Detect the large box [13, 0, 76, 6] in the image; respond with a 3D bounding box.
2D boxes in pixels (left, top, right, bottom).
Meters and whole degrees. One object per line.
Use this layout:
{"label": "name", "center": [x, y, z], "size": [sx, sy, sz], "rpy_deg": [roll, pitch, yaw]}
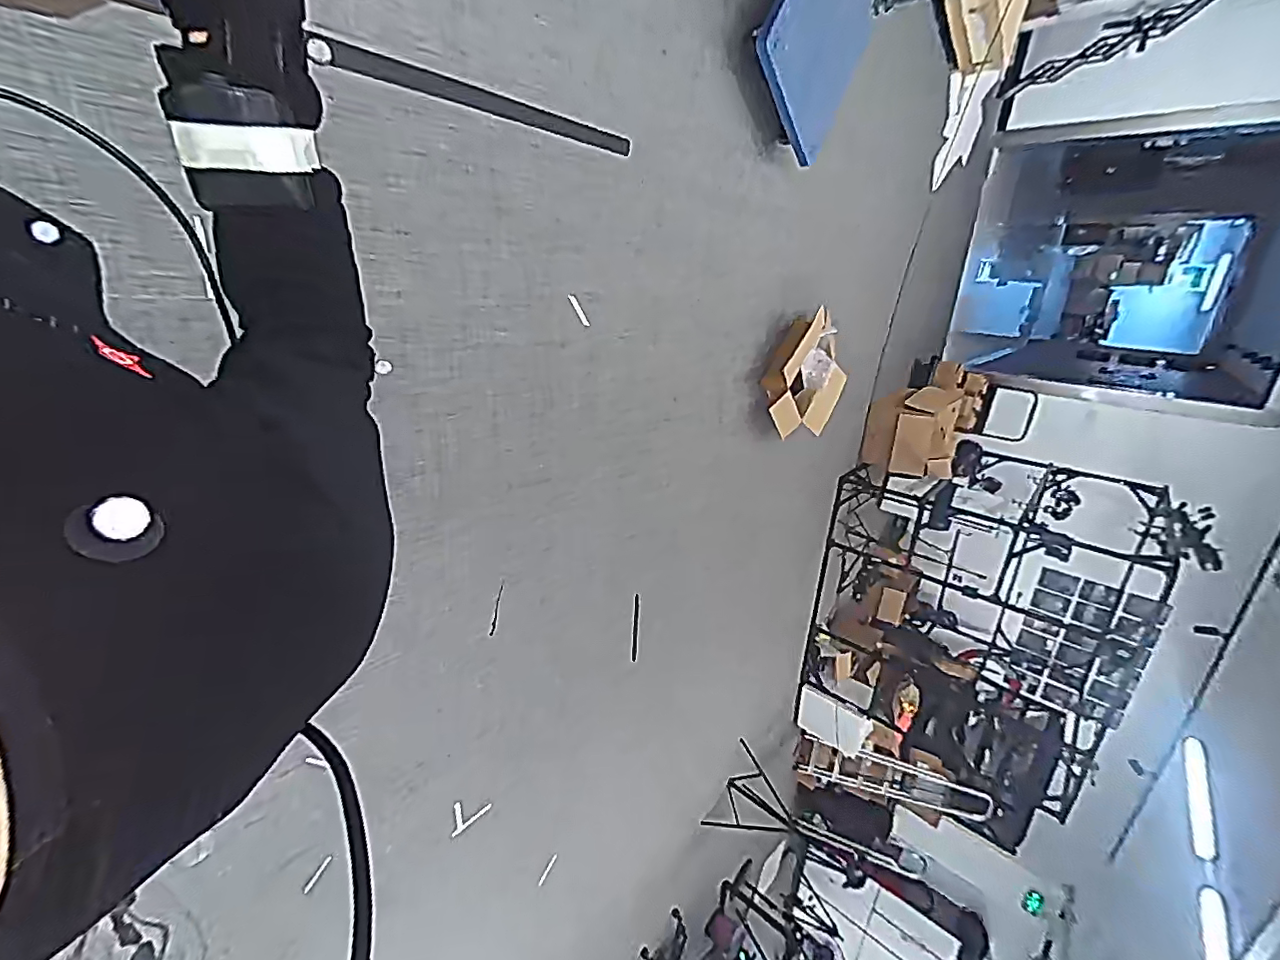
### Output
{"label": "large box", "center": [-0.463, -0.384, 0.149], "size": [0.408, 0.320, 0.320], "rpy_deg": [-24, 132, -43]}
